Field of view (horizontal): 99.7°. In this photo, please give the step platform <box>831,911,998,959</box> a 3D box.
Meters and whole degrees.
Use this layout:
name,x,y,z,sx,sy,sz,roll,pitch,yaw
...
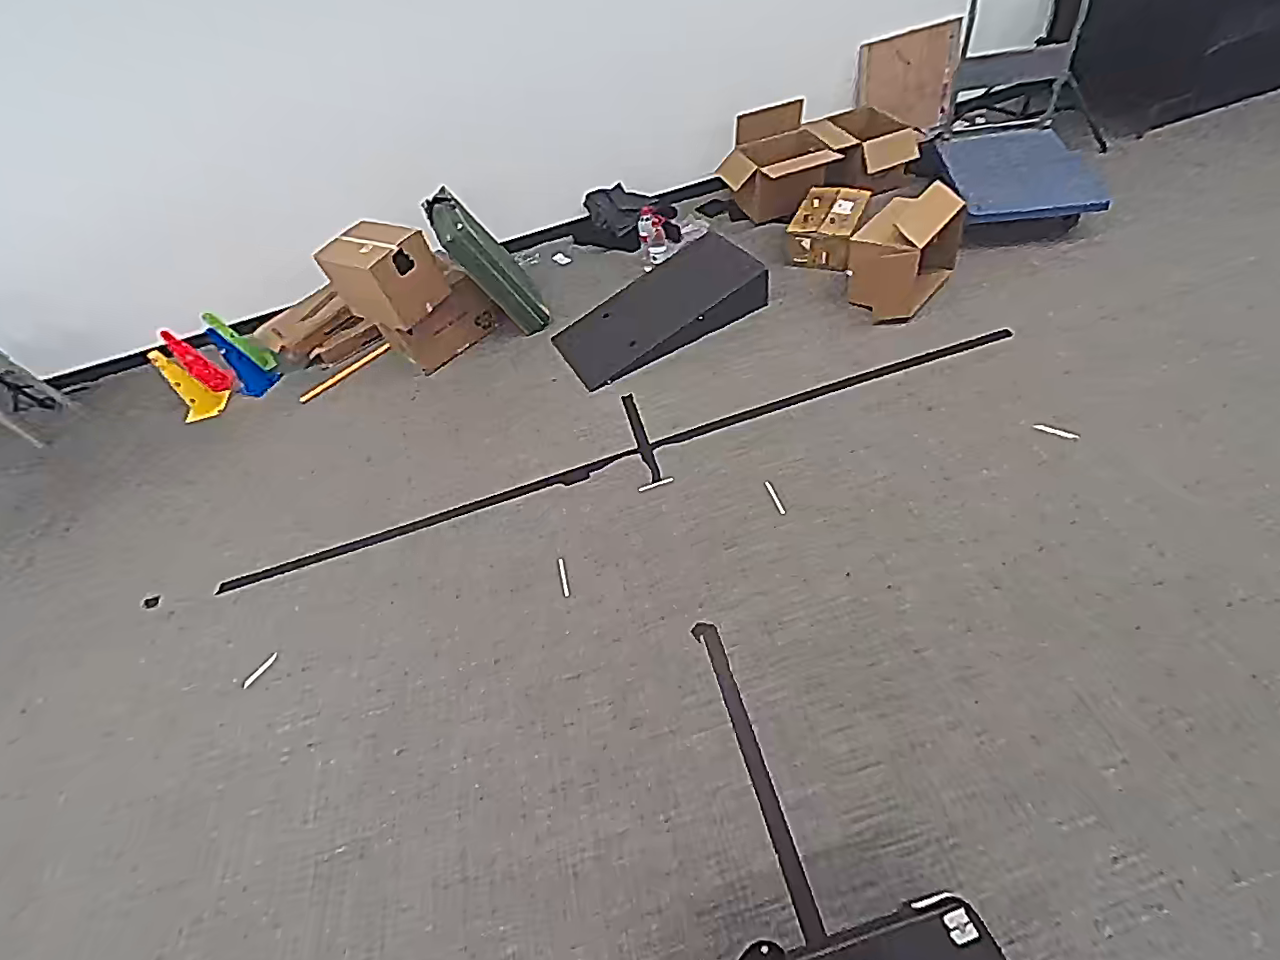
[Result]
name,x,y,z,sx,sy,sz,roll,pitch,yaw
step platform,0.396,1.101,1.027,0.684,0.204,0.286,-18,51,-3
